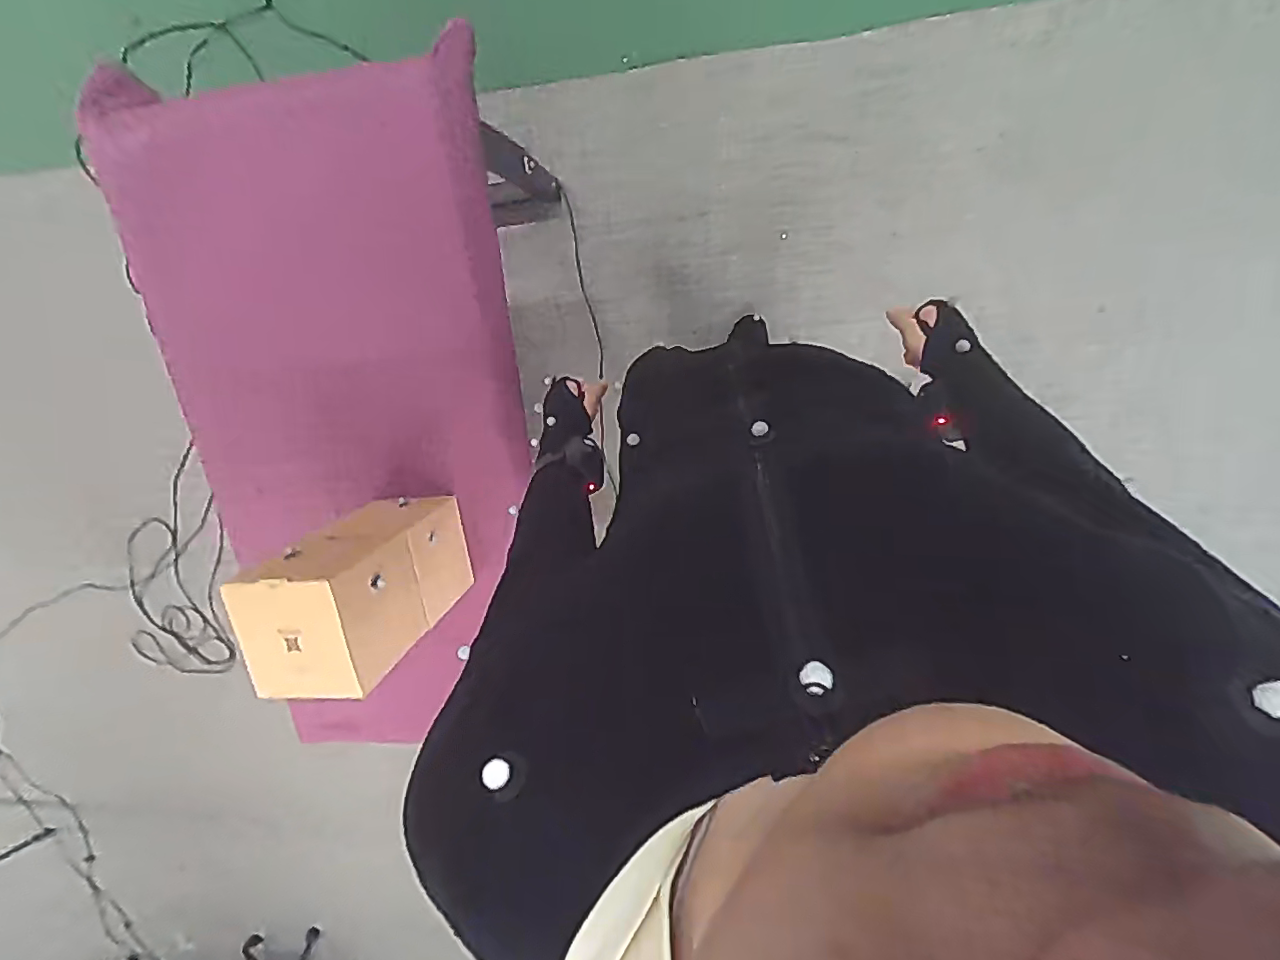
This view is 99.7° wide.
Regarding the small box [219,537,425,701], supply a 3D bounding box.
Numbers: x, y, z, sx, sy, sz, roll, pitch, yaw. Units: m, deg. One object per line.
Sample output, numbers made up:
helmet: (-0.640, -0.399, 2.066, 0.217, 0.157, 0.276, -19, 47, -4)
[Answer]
small box: (-0.437, 0.187, 0.772, 0.168, 0.176, 0.179, -3, 106, 10)
